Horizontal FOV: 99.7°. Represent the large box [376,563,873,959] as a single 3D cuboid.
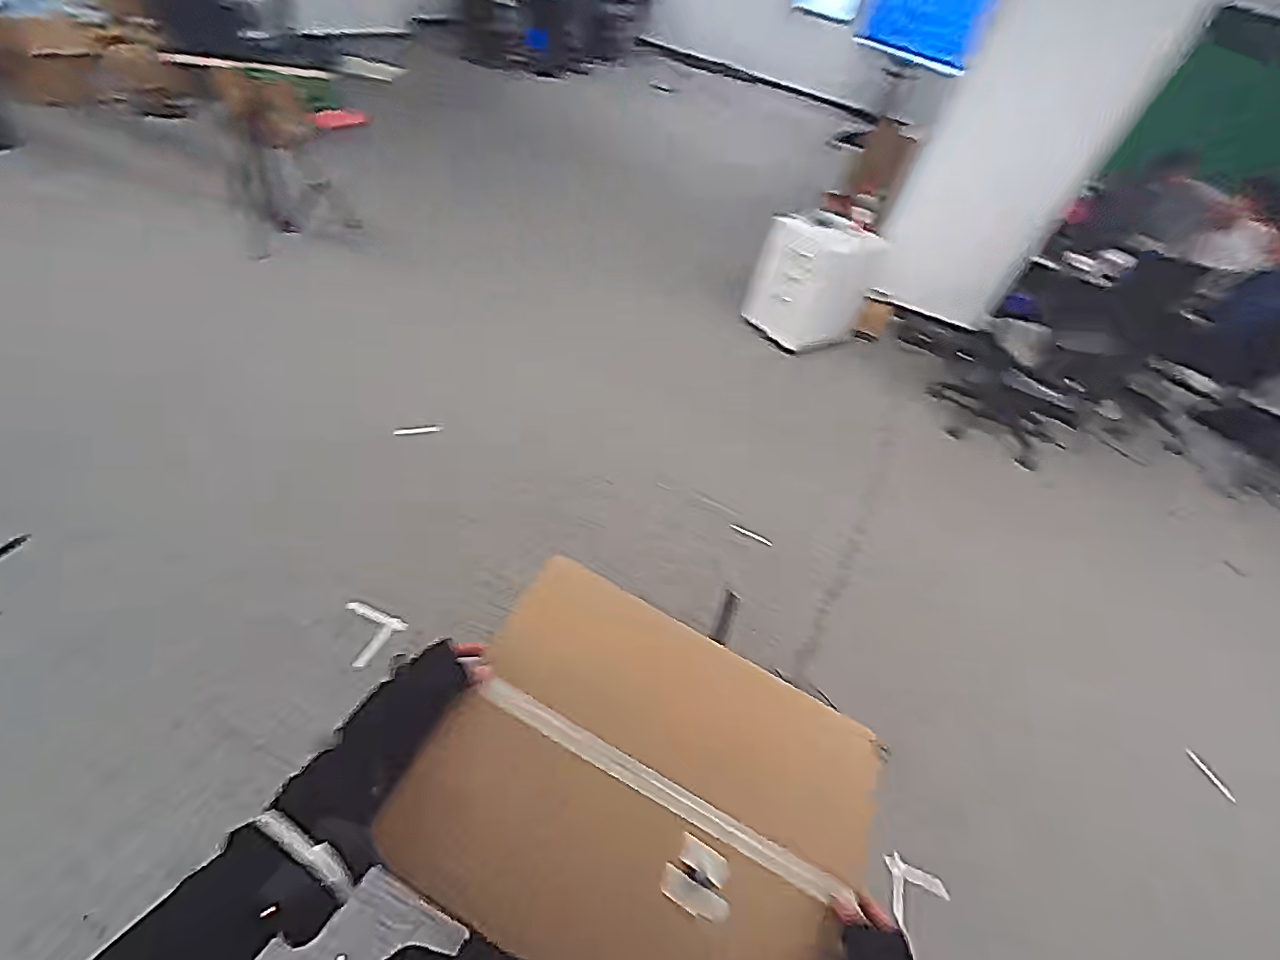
[{"bbox_3d":[-0.017,0.371,0.637,0.408,0.320,0.320,29,55,7],"label":"large box"}]
